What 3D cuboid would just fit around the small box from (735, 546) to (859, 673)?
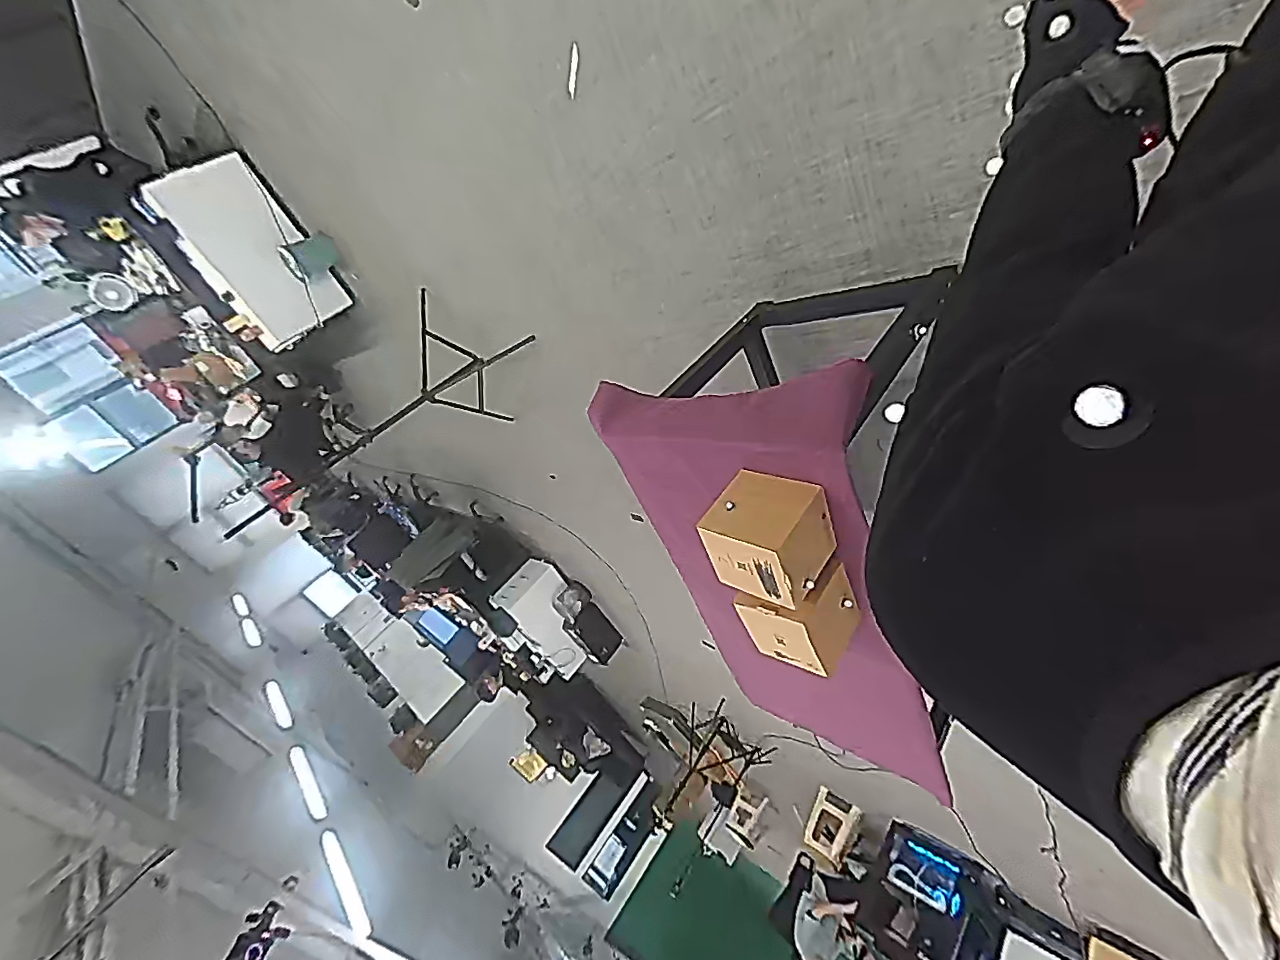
[{"bbox_3d":[0.333,0.262,1.133,0.168,0.176,0.179,7,135,47],"label":"small box"}]
